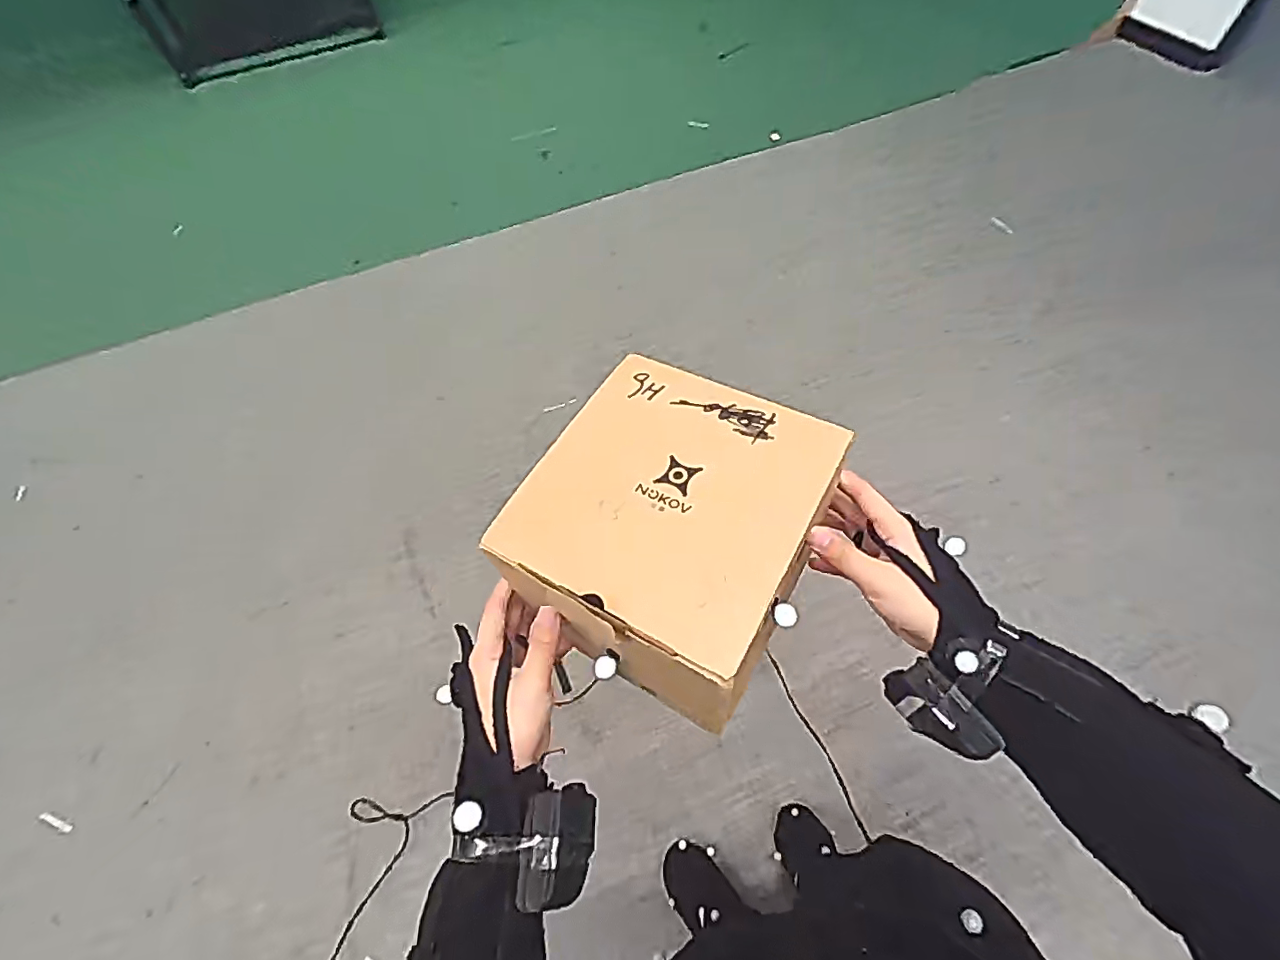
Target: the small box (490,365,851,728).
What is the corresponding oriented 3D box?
[{"bbox_3d":[0.030,0.054,0.396,0.168,0.176,0.179,25,64,21],"label":"small box"}]
